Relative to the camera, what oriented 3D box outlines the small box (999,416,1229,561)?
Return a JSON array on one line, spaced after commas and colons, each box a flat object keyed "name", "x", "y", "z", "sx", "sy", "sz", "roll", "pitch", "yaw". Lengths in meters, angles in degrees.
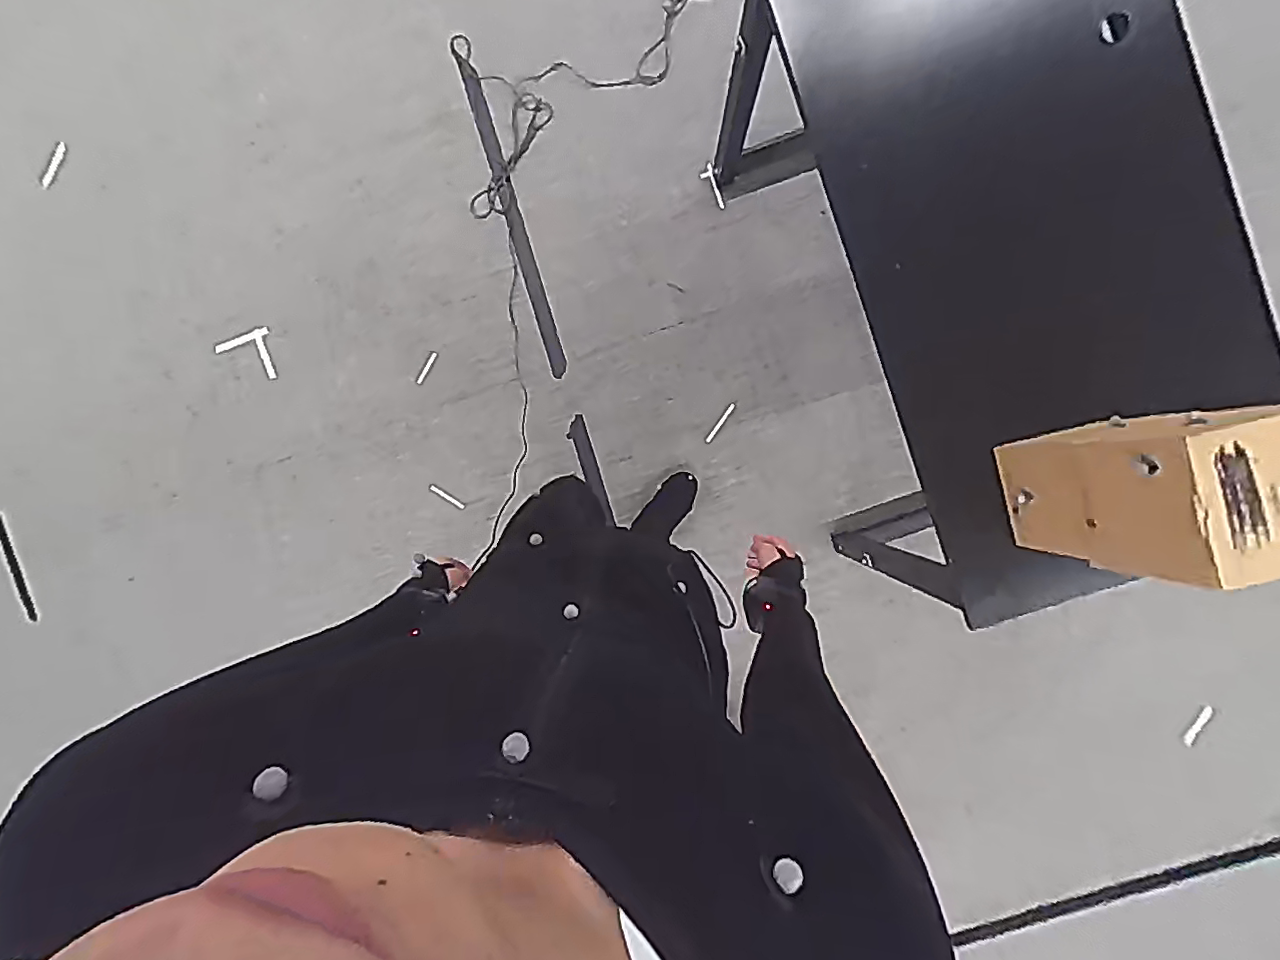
[{"name": "small box", "x": 0.676, "y": 0.008, "z": 0.791, "sx": 0.179, "sy": 0.176, "sz": 0.168, "roll": -13, "pitch": 90, "yaw": 2}]
